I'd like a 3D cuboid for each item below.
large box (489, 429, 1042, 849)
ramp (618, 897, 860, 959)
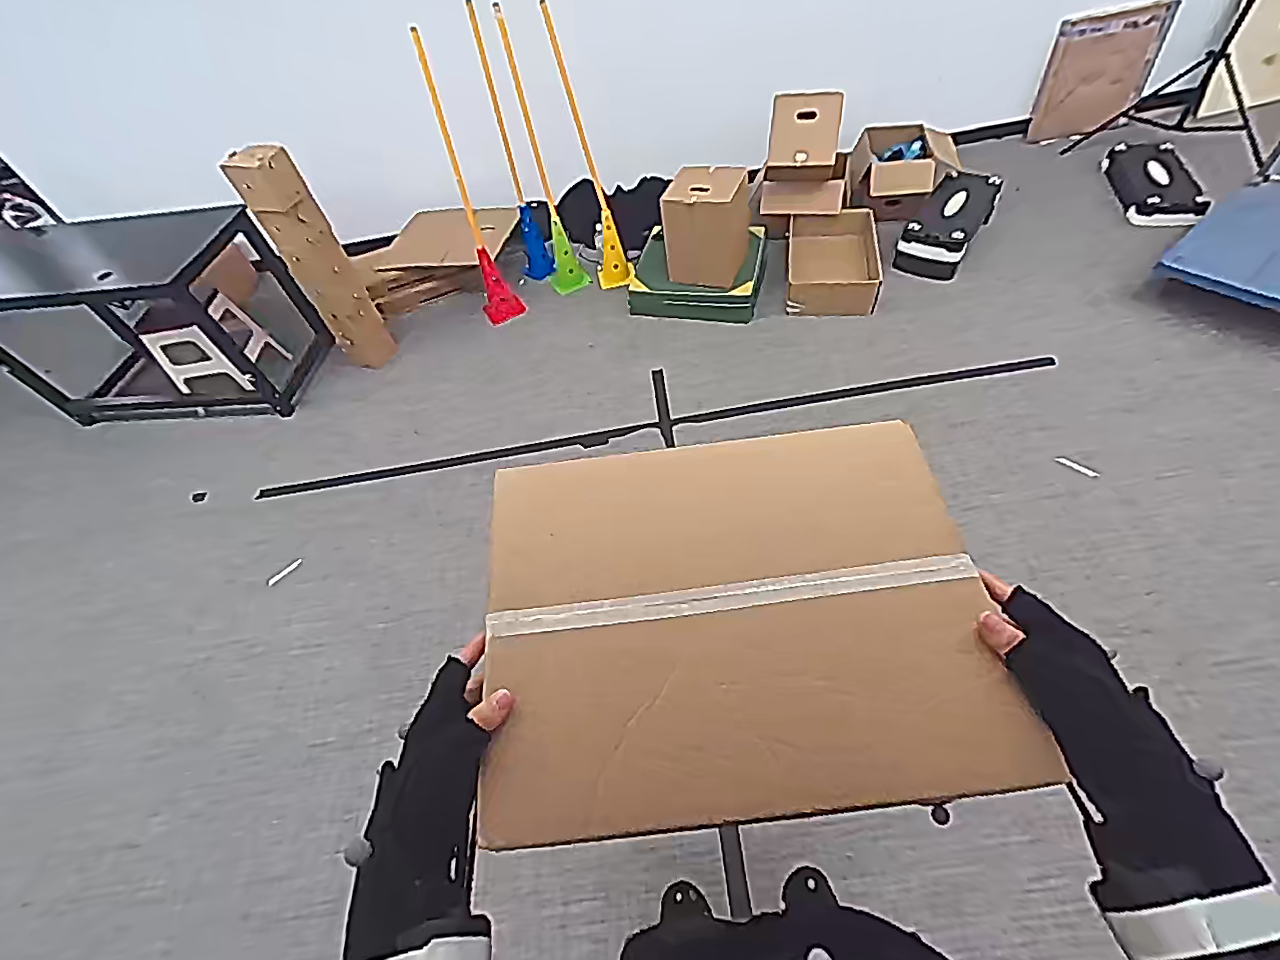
[{"bbox_3d":[0.085,0.180,0.583,0.408,0.320,0.320,-7,57,0],"label":"large box"},{"bbox_3d":[0.252,1.351,0.921,0.509,0.206,0.991,-9,53,0],"label":"ramp"}]
